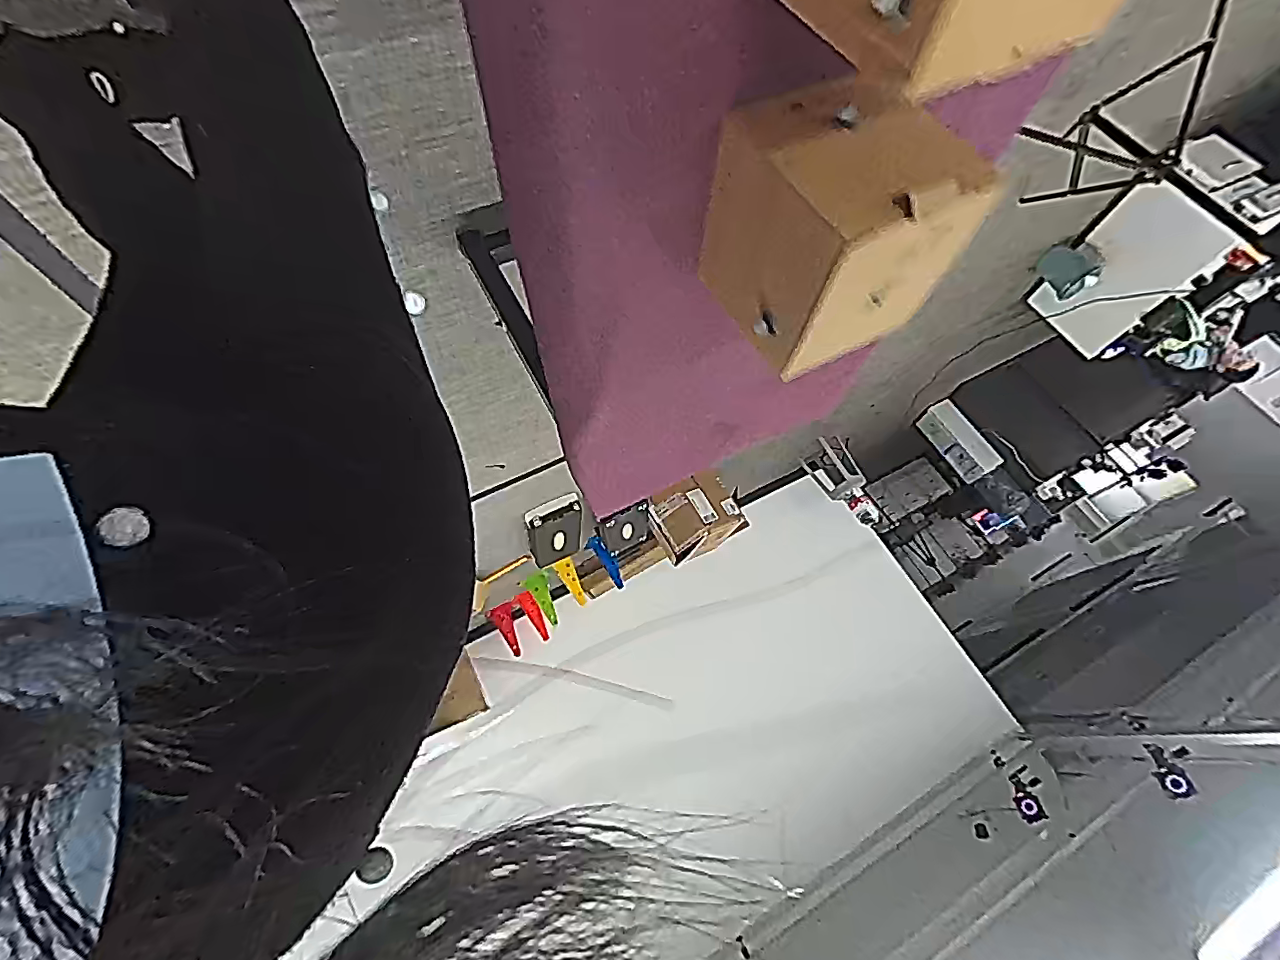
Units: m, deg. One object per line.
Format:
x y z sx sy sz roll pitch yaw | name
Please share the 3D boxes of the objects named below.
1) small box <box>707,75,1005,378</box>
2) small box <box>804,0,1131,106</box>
0.182 -0.236 0.520 0.168 0.176 0.179 -26 160 -14 | small box
0.188 -0.349 0.279 0.168 0.176 0.179 -26 160 -13 | small box
